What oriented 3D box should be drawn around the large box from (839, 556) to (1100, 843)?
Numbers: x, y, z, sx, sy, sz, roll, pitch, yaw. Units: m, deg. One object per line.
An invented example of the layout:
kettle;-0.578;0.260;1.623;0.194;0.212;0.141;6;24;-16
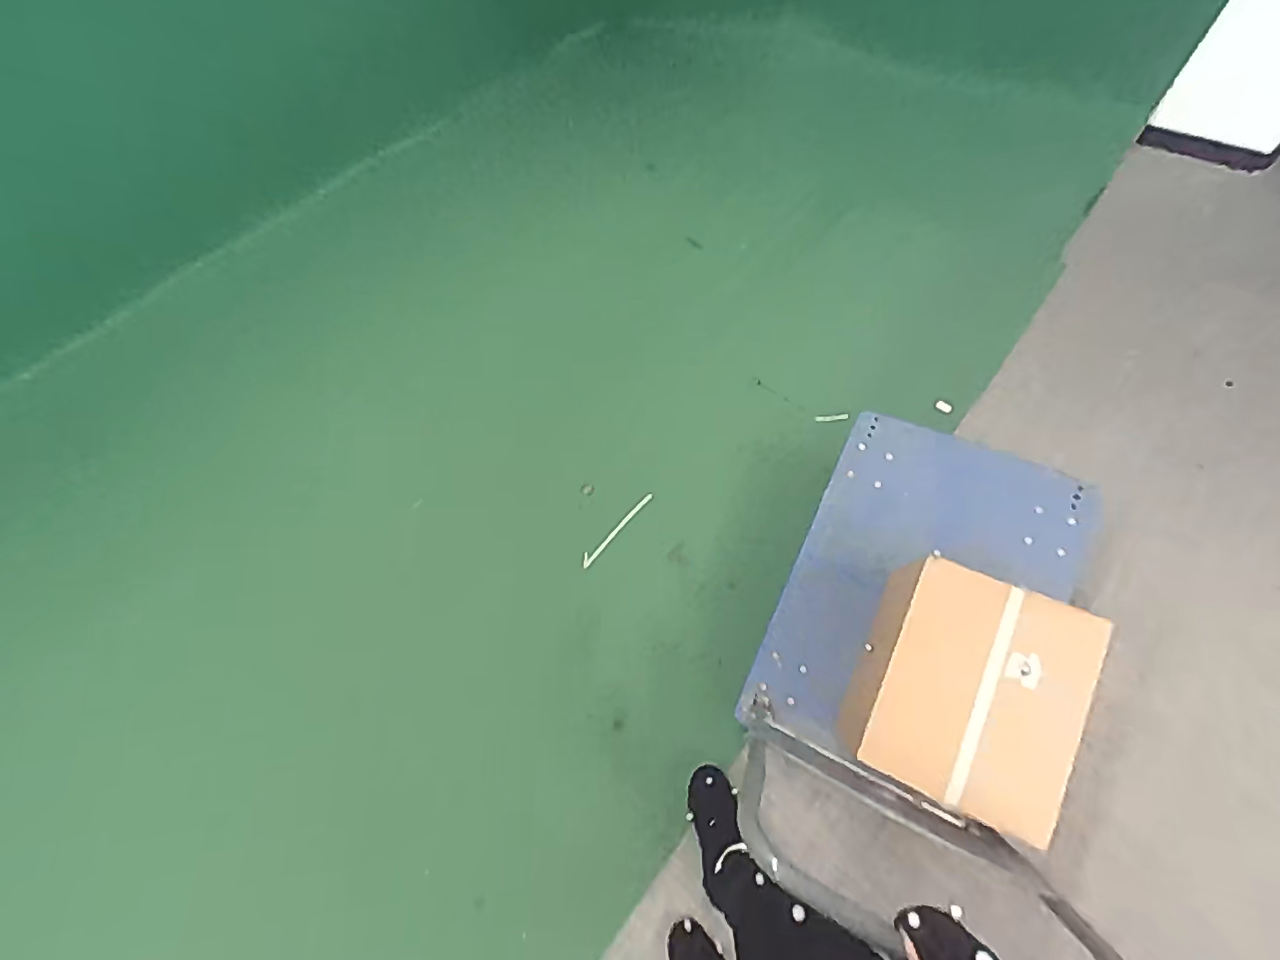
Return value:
large box;0.638;0.417;1.109;0.320;0.320;0.408;21;79;16
